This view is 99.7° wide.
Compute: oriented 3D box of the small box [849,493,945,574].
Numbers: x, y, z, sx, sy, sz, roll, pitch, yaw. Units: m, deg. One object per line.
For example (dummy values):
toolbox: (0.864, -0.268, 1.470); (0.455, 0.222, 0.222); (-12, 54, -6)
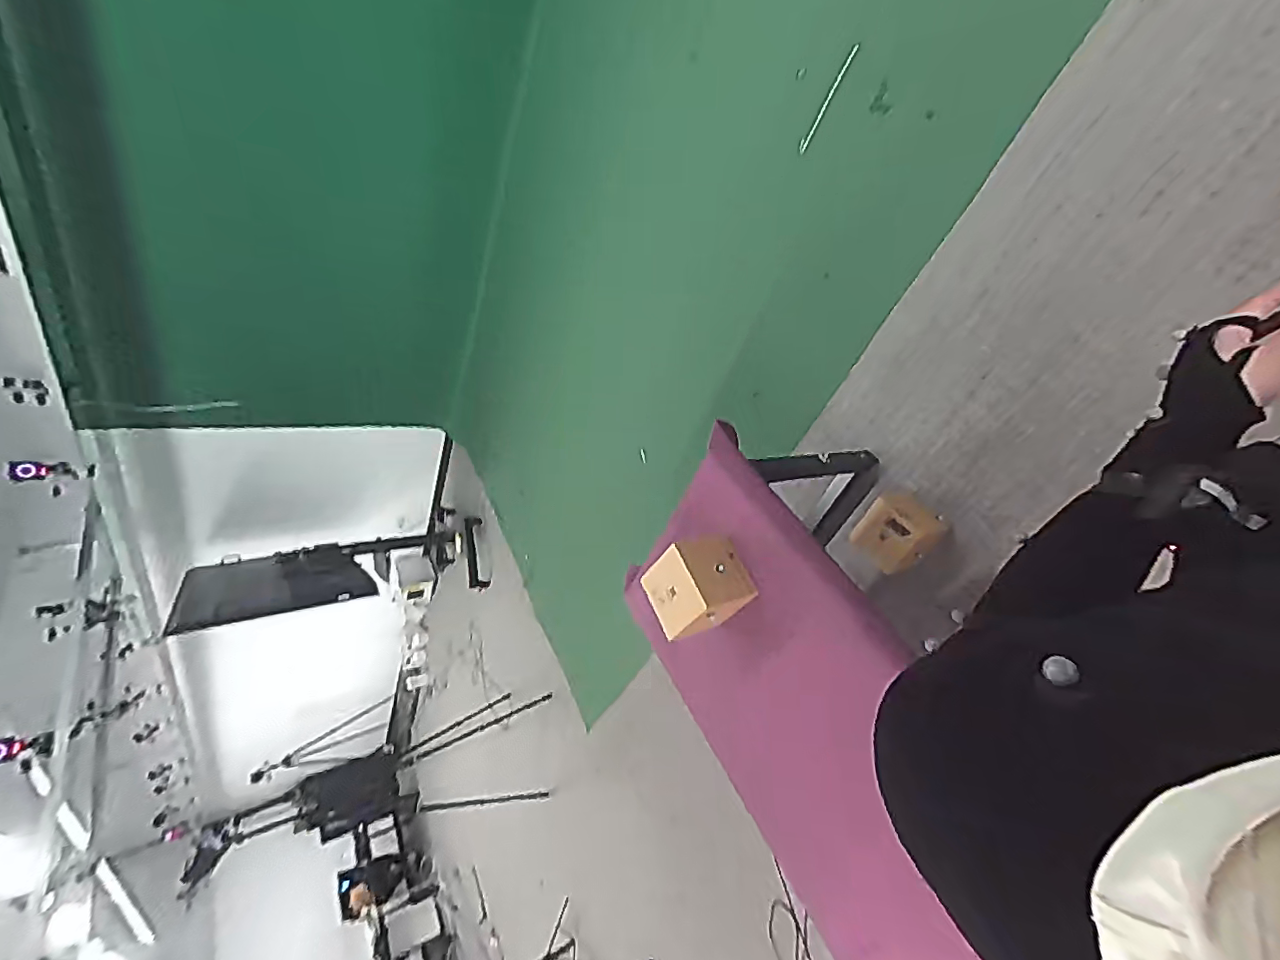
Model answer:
small box: (0.778, 0.154, 1.626); (0.168, 0.176, 0.179); (53, 134, 37)

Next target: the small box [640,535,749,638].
small box: (0.135, 0.247, 1.283); (0.179, 0.176, 0.168); (-54, 53, 42)
